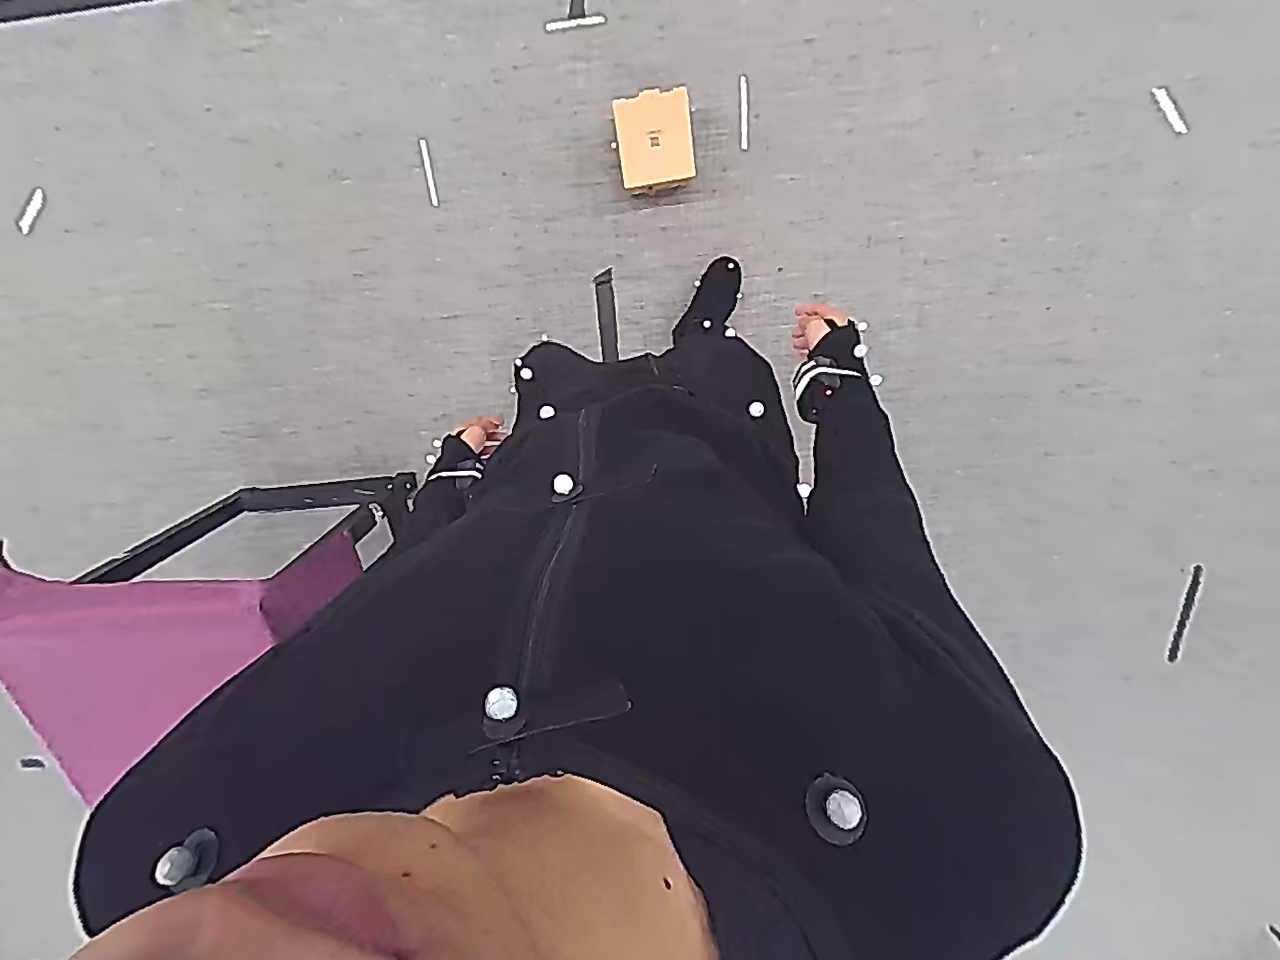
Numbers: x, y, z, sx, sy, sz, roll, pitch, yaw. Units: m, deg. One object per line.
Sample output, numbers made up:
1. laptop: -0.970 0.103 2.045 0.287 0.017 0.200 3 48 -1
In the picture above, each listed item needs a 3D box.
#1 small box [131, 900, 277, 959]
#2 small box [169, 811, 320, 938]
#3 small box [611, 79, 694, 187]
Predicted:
1. small box: -0.860 0.954 1.045 0.179 0.176 0.168 -10 113 6
2. small box: -0.852 0.870 1.188 0.168 0.176 0.179 -15 111 7
3. small box: 0.033 -0.797 1.262 0.168 0.176 0.179 -8 112 5
